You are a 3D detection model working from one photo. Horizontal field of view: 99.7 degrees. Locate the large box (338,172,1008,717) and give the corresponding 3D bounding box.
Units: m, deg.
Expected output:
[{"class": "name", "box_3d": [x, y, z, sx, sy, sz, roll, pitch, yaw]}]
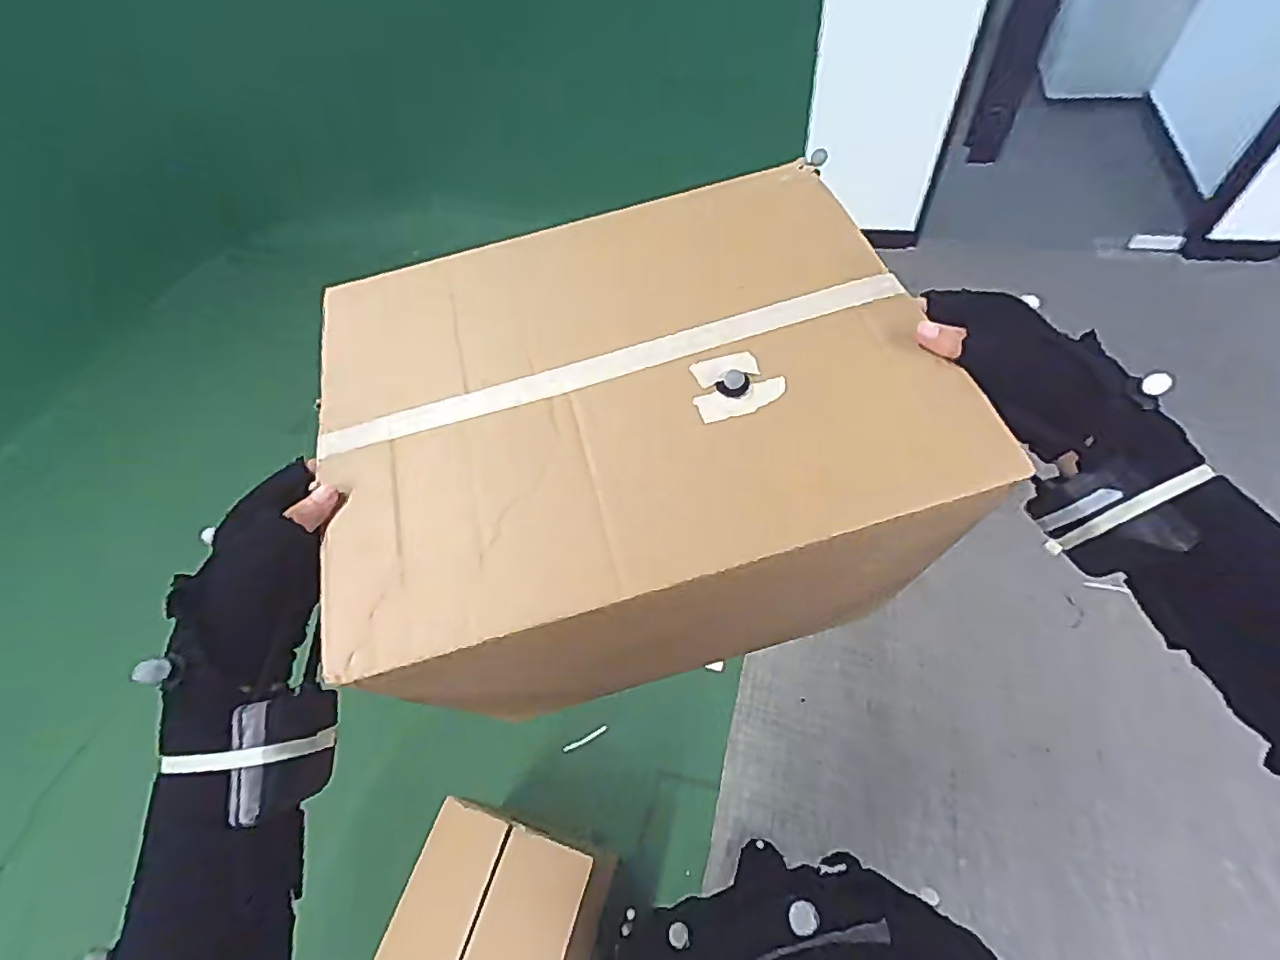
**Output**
[{"class": "large box", "box_3d": [0.000, -0.008, 0.504, 0.408, 0.320, 0.320, -16, 62, -3]}]
